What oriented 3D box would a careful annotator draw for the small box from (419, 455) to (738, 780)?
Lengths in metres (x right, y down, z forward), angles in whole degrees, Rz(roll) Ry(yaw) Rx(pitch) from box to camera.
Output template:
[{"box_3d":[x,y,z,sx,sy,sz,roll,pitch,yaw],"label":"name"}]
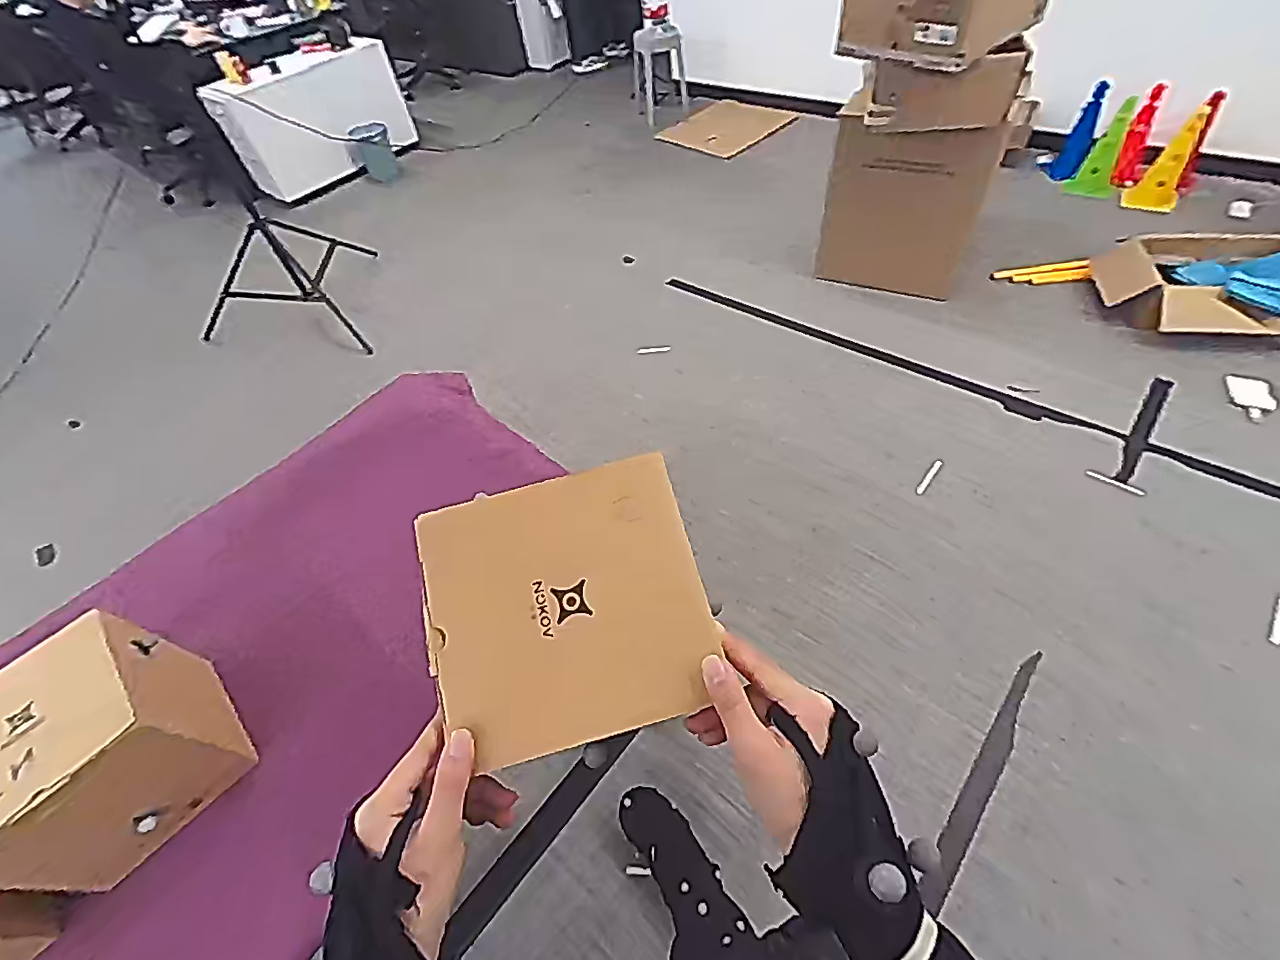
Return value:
[{"box_3d":[-0.040,0.103,0.415,0.179,0.176,0.168,-16,71,-1],"label":"small box"}]
